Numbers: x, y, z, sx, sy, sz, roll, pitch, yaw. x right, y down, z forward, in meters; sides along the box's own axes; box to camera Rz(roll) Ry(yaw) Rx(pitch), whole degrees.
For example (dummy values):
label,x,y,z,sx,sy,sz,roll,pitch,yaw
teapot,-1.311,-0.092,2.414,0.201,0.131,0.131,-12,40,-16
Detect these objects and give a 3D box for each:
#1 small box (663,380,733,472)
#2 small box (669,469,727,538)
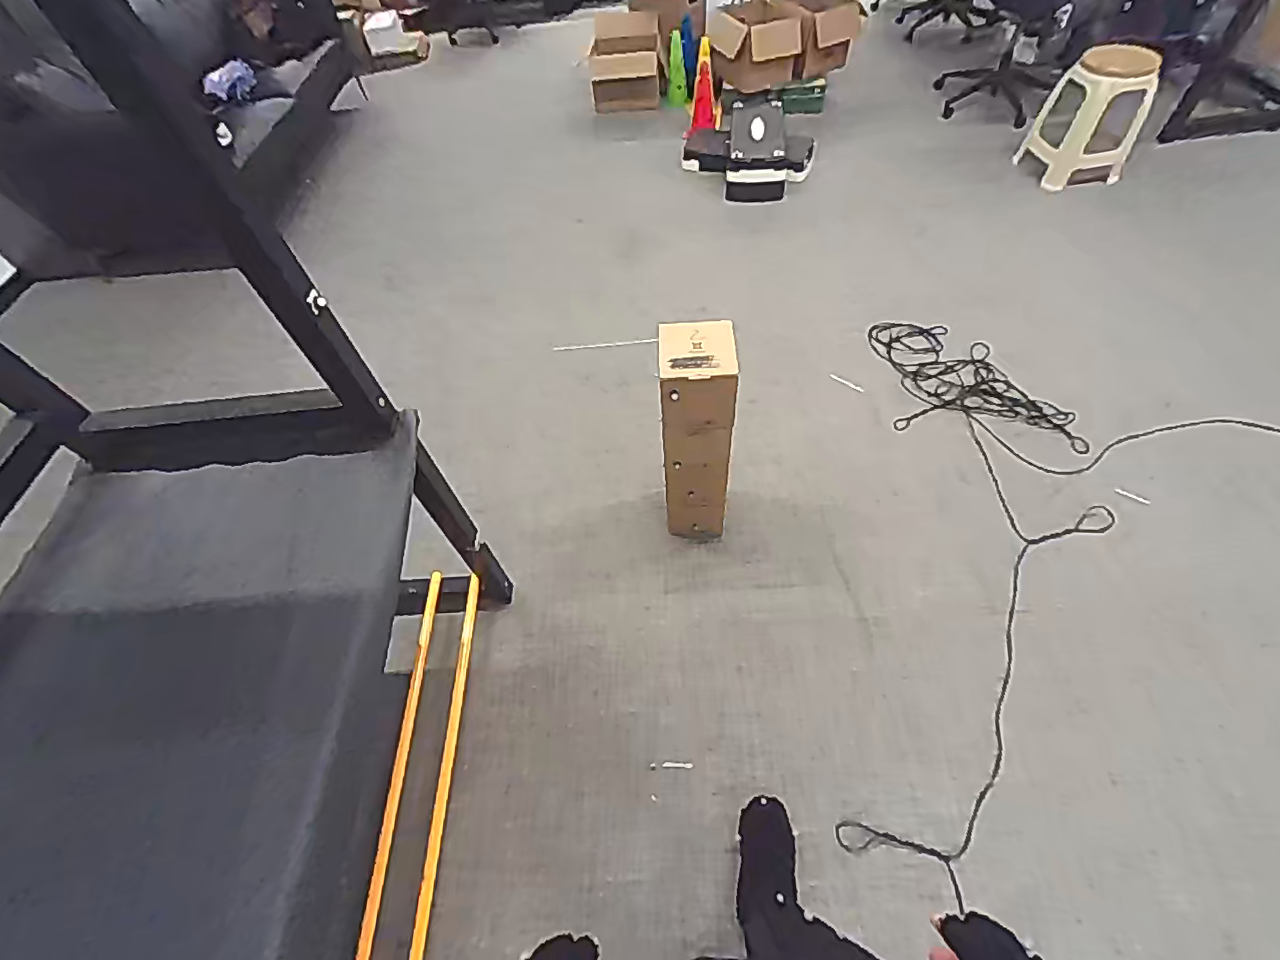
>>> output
label,x,y,z,sx,sy,sz,roll,pitch,yaw
small box,0.146,-0.131,1.370,0.168,0.176,0.179,-1,54,5
small box,0.177,0.058,1.634,0.168,0.176,0.179,0,55,7
